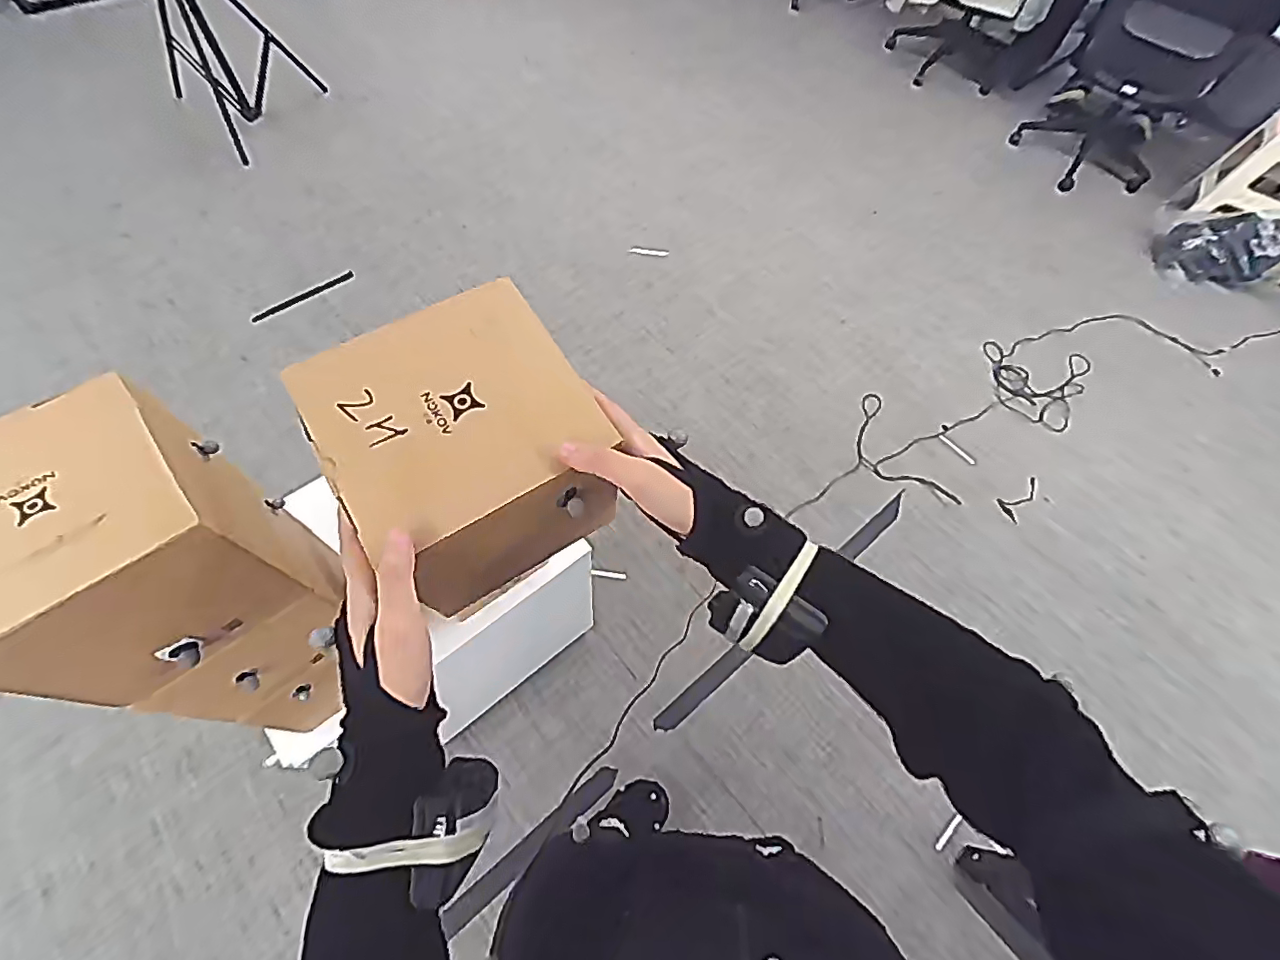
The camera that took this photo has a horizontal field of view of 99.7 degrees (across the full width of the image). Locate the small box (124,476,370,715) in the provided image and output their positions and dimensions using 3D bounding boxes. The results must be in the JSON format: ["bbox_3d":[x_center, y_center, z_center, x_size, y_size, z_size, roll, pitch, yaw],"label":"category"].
[{"bbox_3d":[-0.432,0.132,0.587,0.168,0.176,0.179,-36,70,-21],"label":"small box"}]

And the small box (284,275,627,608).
[{"bbox_3d":[-0.130,-0.020,0.434,0.179,0.176,0.168,-30,73,-15],"label":"small box"}]

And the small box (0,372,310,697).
[{"bbox_3d":[-0.421,0.053,0.445,0.168,0.176,0.179,-37,71,-20],"label":"small box"}]

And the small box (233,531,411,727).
[{"bbox_3d":[-0.444,0.207,0.730,0.168,0.176,0.179,-35,69,-19],"label":"small box"}]
